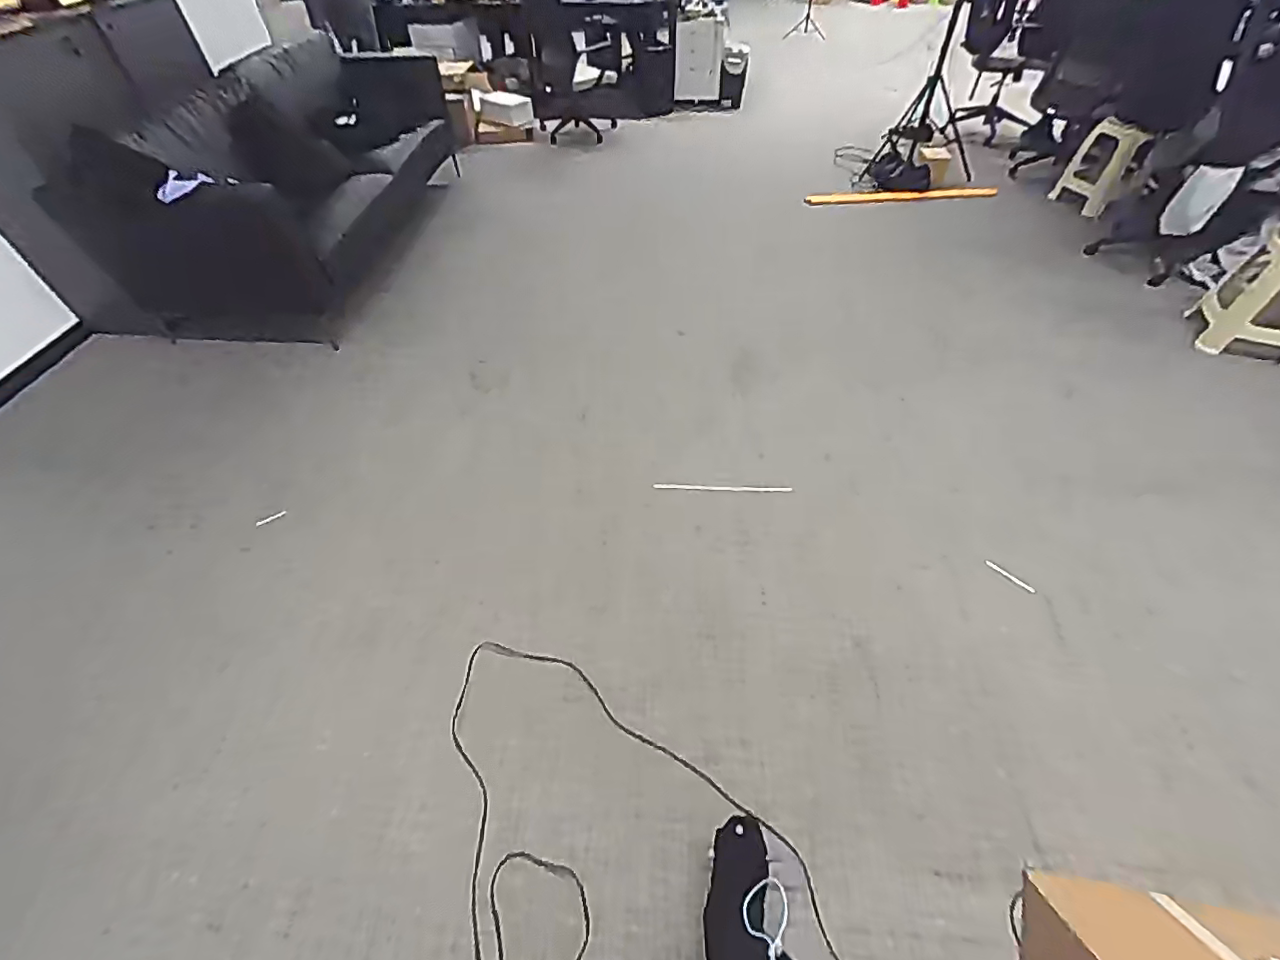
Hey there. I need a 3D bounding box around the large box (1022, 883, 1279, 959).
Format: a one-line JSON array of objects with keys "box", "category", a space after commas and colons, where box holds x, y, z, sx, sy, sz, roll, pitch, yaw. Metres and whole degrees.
[{"box": [0.641, 0.703, 0.524, 0.320, 0.408, 0.320, 5, 85, 10], "category": "large box"}]
